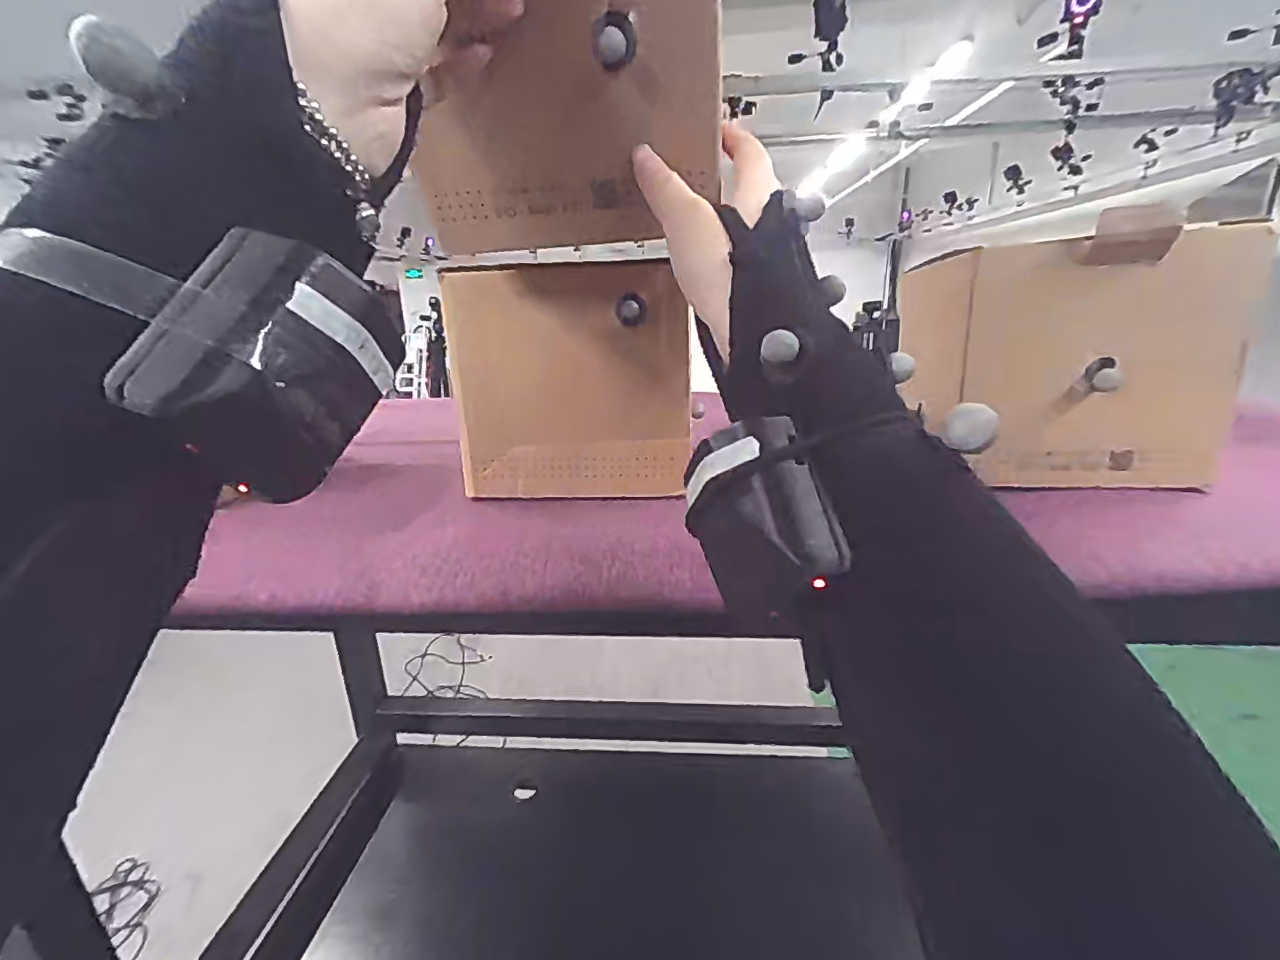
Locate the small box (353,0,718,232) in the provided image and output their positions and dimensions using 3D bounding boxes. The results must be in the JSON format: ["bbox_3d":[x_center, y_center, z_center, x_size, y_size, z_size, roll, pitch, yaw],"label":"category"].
[{"bbox_3d":[-0.040,-0.252,0.310,0.168,0.176,0.179,0,42,8],"label":"small box"}]

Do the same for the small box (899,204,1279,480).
[{"bbox_3d":[0.314,-0.099,0.424,0.168,0.176,0.179,0,16,11],"label":"small box"}]

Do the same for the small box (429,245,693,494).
[{"bbox_3d":[-0.047,-0.089,0.450,0.179,0.176,0.168,-1,16,4],"label":"small box"}]

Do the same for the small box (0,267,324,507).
[{"bbox_3d":[-0.410,-0.081,0.456,0.179,0.176,0.168,-1,19,4],"label":"small box"}]
